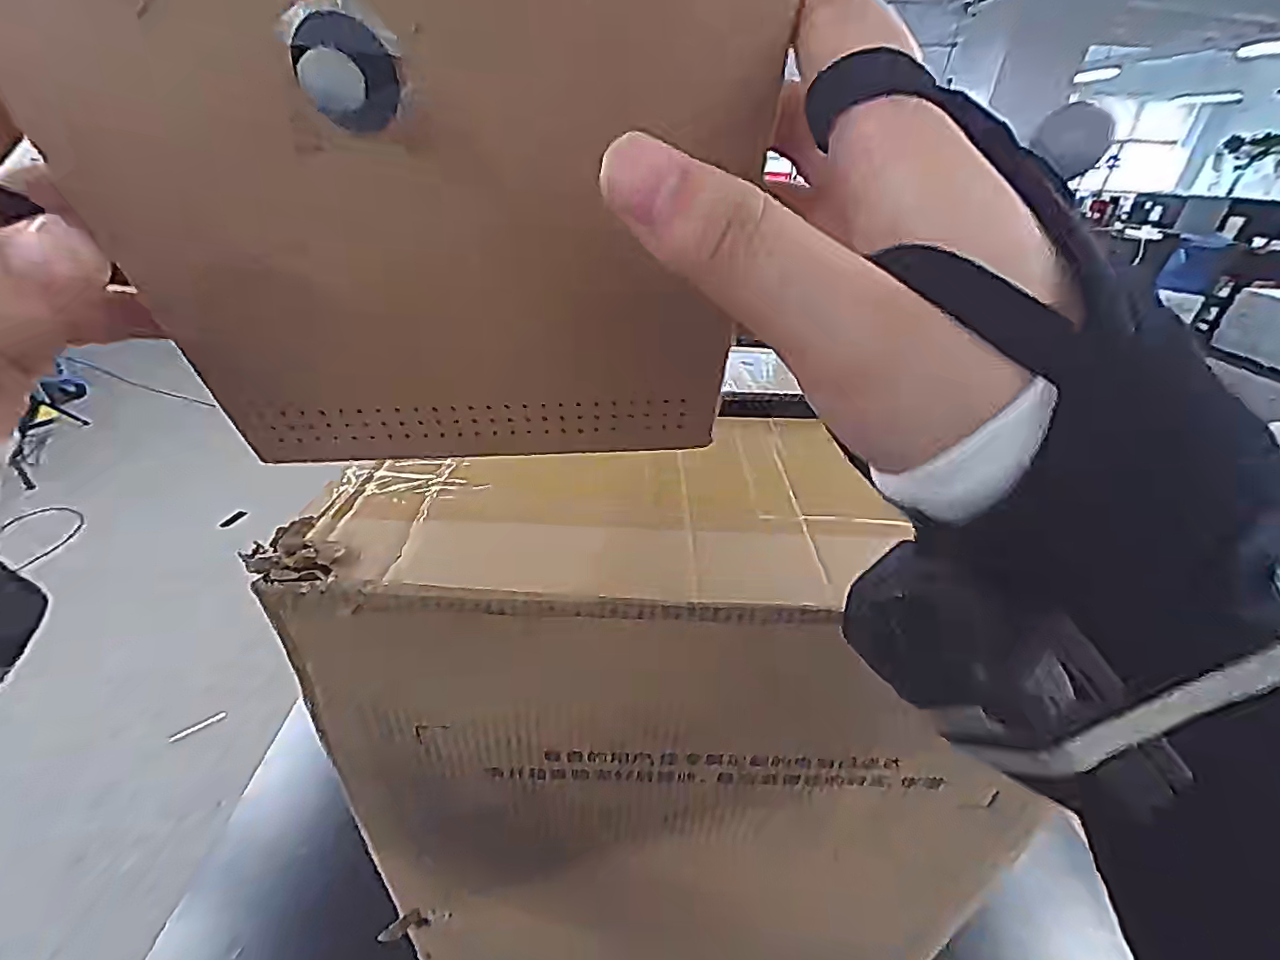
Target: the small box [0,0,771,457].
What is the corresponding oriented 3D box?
[{"bbox_3d":[-0.060,-0.121,0.201,0.179,0.176,0.168,-2,50,-5],"label":"small box"}]
